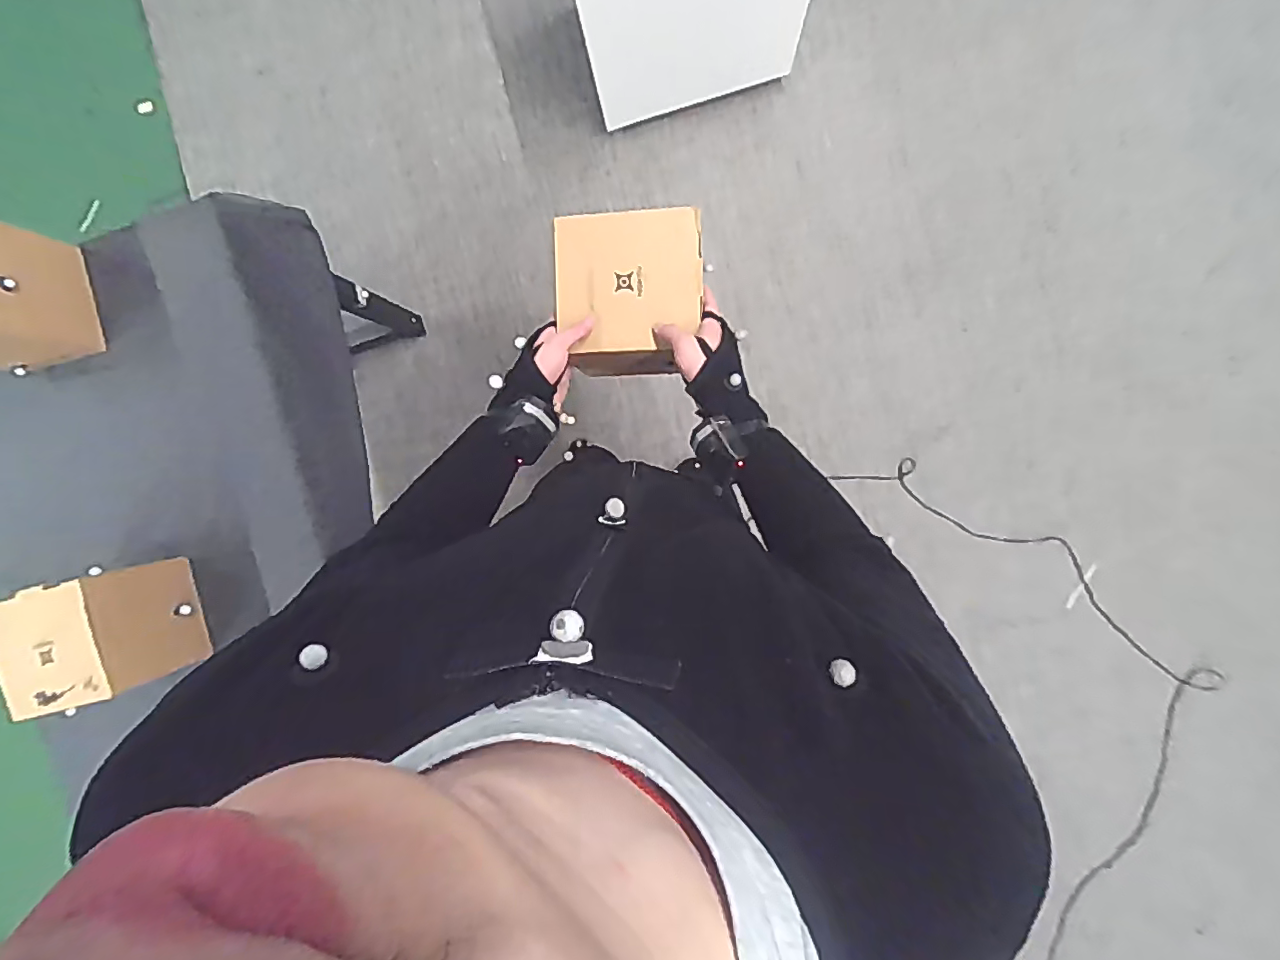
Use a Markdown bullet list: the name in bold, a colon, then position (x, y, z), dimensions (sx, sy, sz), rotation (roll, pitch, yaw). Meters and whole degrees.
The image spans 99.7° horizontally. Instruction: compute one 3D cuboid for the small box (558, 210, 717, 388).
- **small box**: position (0.003, -0.218, 0.695), dimensions (0.179, 0.176, 0.168), rotation (-4, 89, 6)
